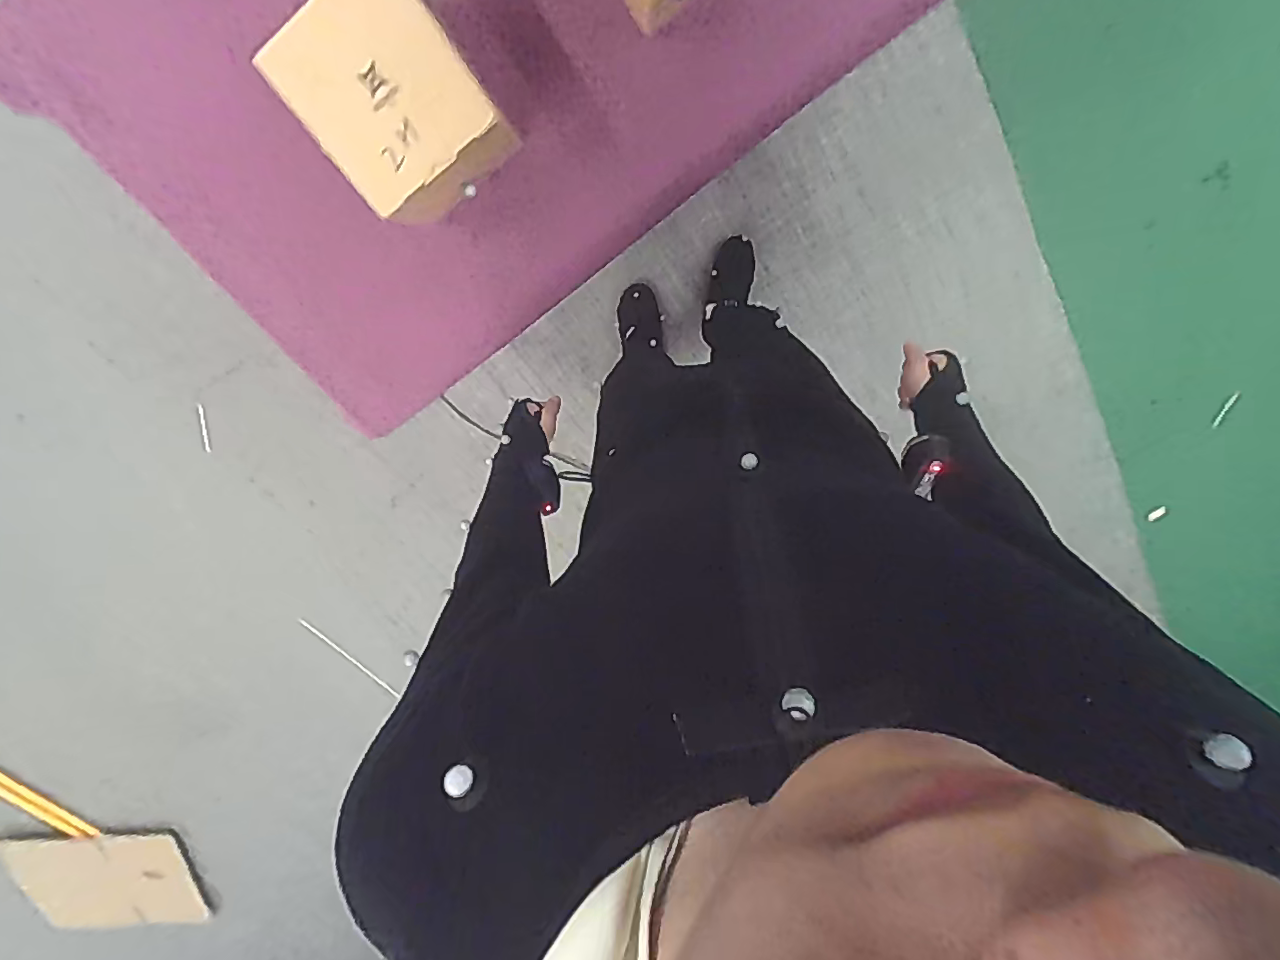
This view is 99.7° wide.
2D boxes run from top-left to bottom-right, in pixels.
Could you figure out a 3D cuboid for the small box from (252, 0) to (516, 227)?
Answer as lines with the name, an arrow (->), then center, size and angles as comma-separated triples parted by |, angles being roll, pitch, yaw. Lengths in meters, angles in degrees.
small box -> -0.264, -0.408, 0.607 | 0.168, 0.176, 0.179 | -33, 111, 11
